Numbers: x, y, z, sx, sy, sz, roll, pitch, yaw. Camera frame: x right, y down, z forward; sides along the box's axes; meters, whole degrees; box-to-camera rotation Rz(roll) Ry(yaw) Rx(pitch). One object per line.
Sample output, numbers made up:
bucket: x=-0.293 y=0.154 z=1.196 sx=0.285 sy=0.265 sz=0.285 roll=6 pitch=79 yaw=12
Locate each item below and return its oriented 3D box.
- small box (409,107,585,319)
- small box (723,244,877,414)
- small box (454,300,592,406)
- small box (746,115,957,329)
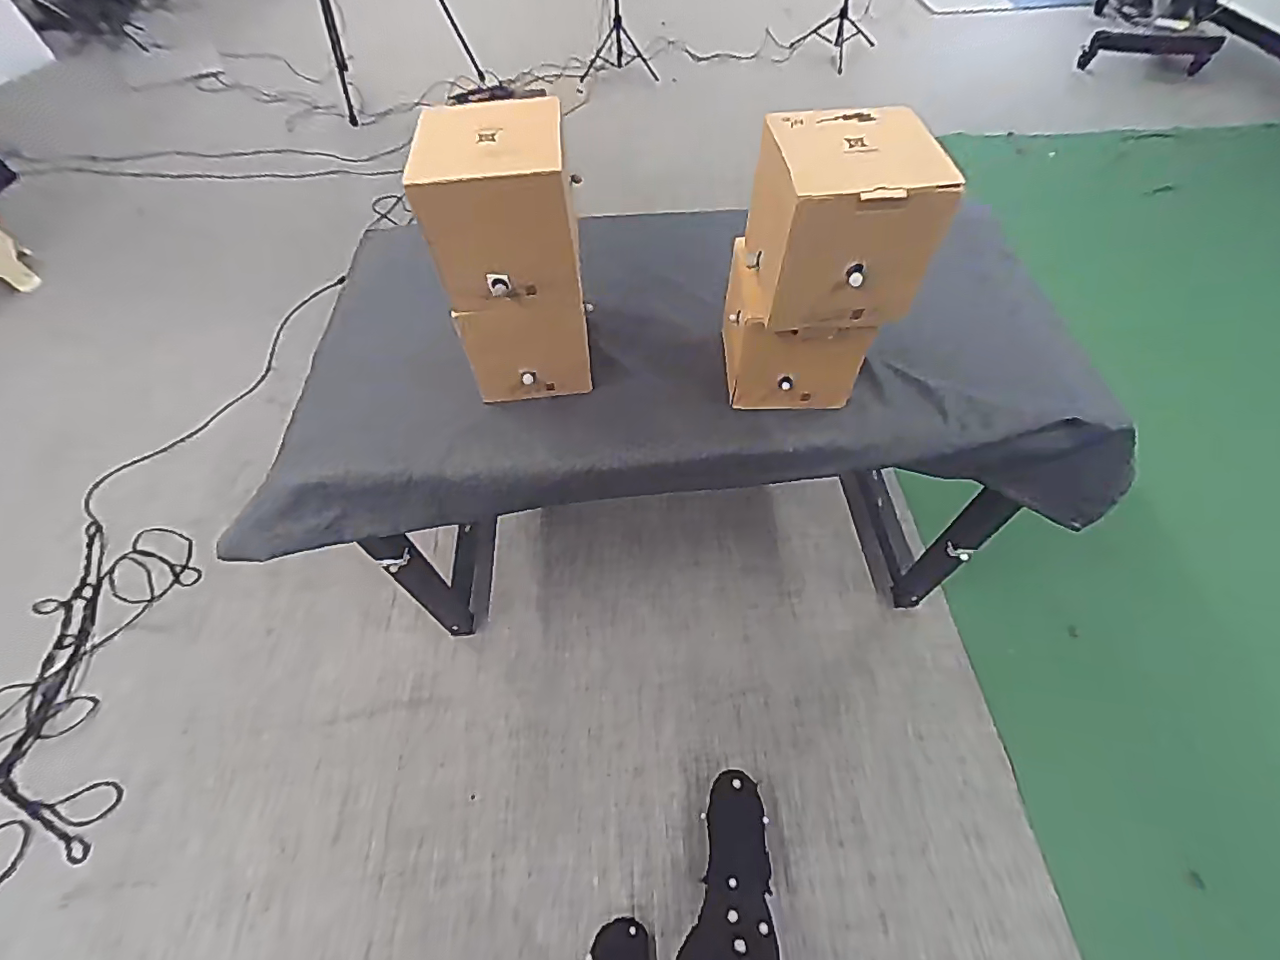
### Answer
small box: x=-0.162 y=-0.326 z=0.668 sx=0.168 sy=0.176 sz=0.179 roll=-7 pitch=57 yaw=-2
small box: x=0.216 y=-0.216 z=0.781 sx=0.168 sy=0.176 sz=0.179 roll=0 pitch=55 yaw=1
small box: x=-0.163 y=-0.233 z=0.802 sx=0.168 sy=0.176 sz=0.179 roll=-6 pitch=56 yaw=-3
small box: x=0.227 y=-0.293 z=0.636 sx=0.168 sy=0.176 sz=0.179 roll=-4 pitch=56 yaw=-1
